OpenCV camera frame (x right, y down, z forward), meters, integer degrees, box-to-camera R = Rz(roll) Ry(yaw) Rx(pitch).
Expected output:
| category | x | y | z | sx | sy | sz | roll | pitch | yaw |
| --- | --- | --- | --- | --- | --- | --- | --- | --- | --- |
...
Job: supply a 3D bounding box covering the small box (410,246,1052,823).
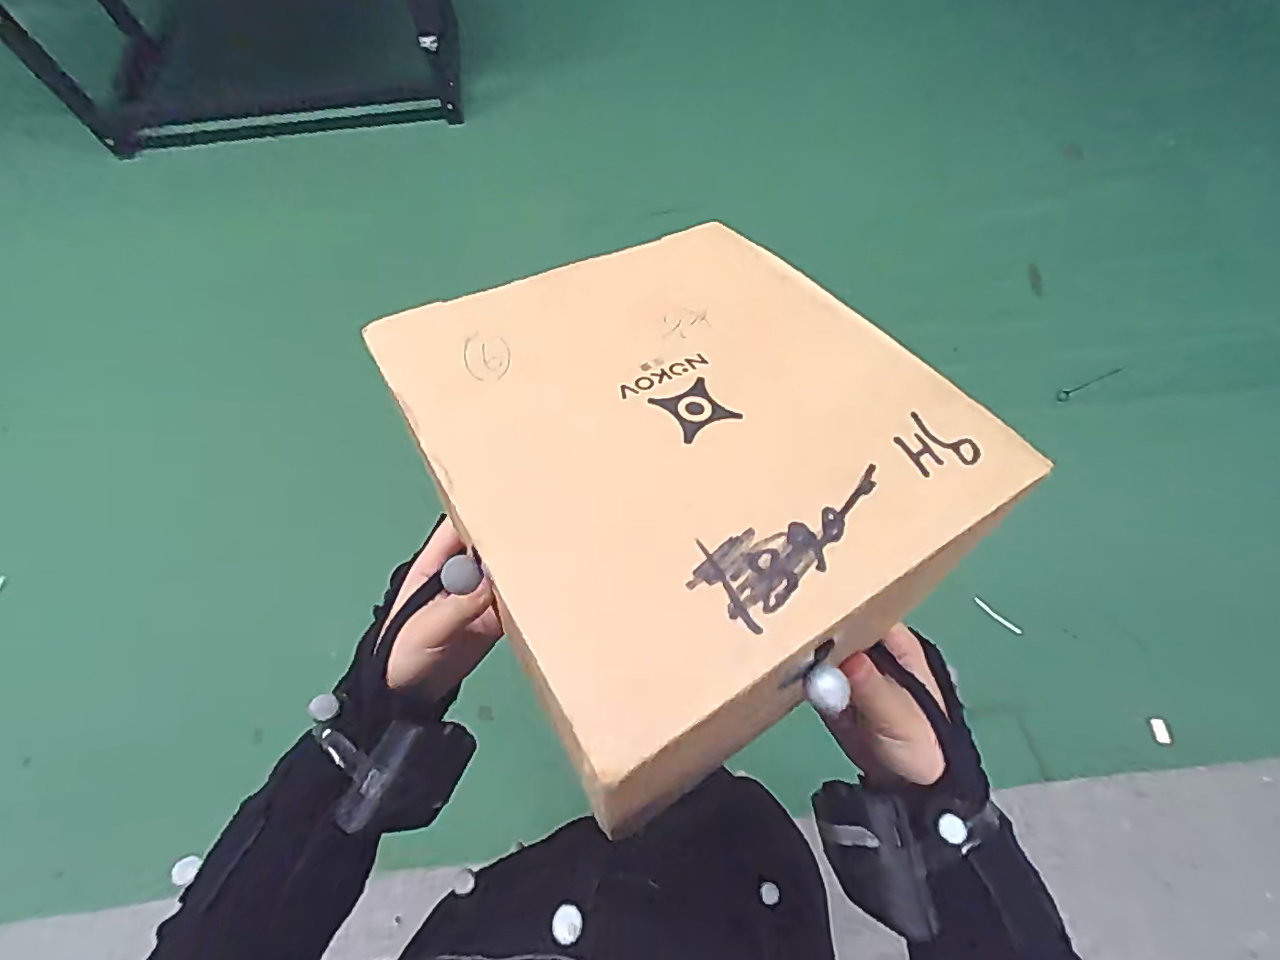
| category | x | y | z | sx | sy | sz | roll | pitch | yaw |
| --- | --- | --- | --- | --- | --- | --- | --- | --- | --- |
| small box | 0.021 | 0.025 | 0.256 | 0.168 | 0.176 | 0.179 | -27 | 58 | -20 |
